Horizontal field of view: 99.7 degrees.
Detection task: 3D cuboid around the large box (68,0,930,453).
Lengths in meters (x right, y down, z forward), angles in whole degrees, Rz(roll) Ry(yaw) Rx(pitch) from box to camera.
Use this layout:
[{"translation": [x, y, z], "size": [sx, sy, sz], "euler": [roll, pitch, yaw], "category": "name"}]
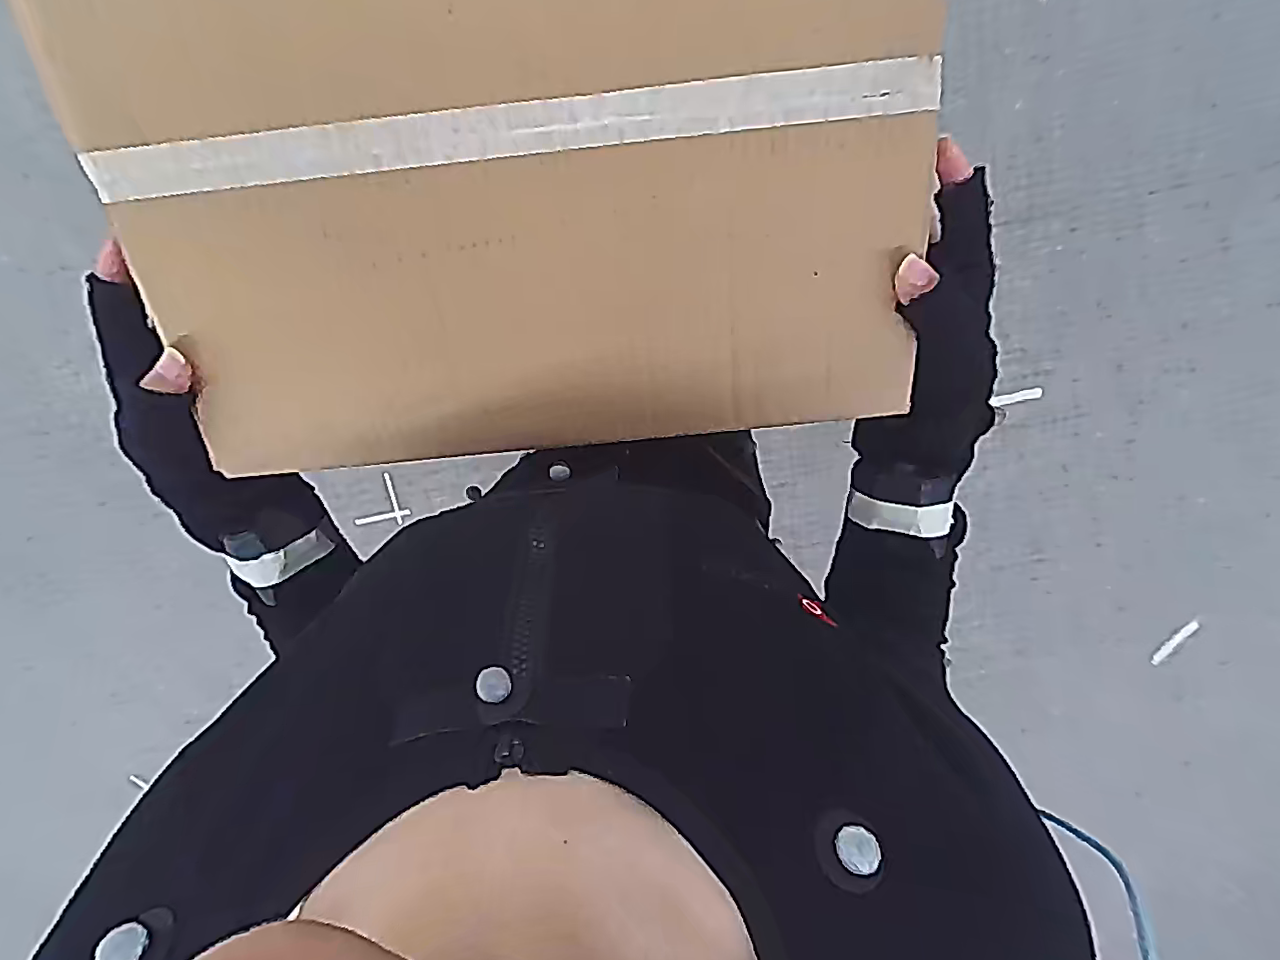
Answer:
[{"translation": [-0.063, -0.233, 0.406], "size": [0.408, 0.320, 0.320], "euler": [-6, 113, 1], "category": "large box"}]
